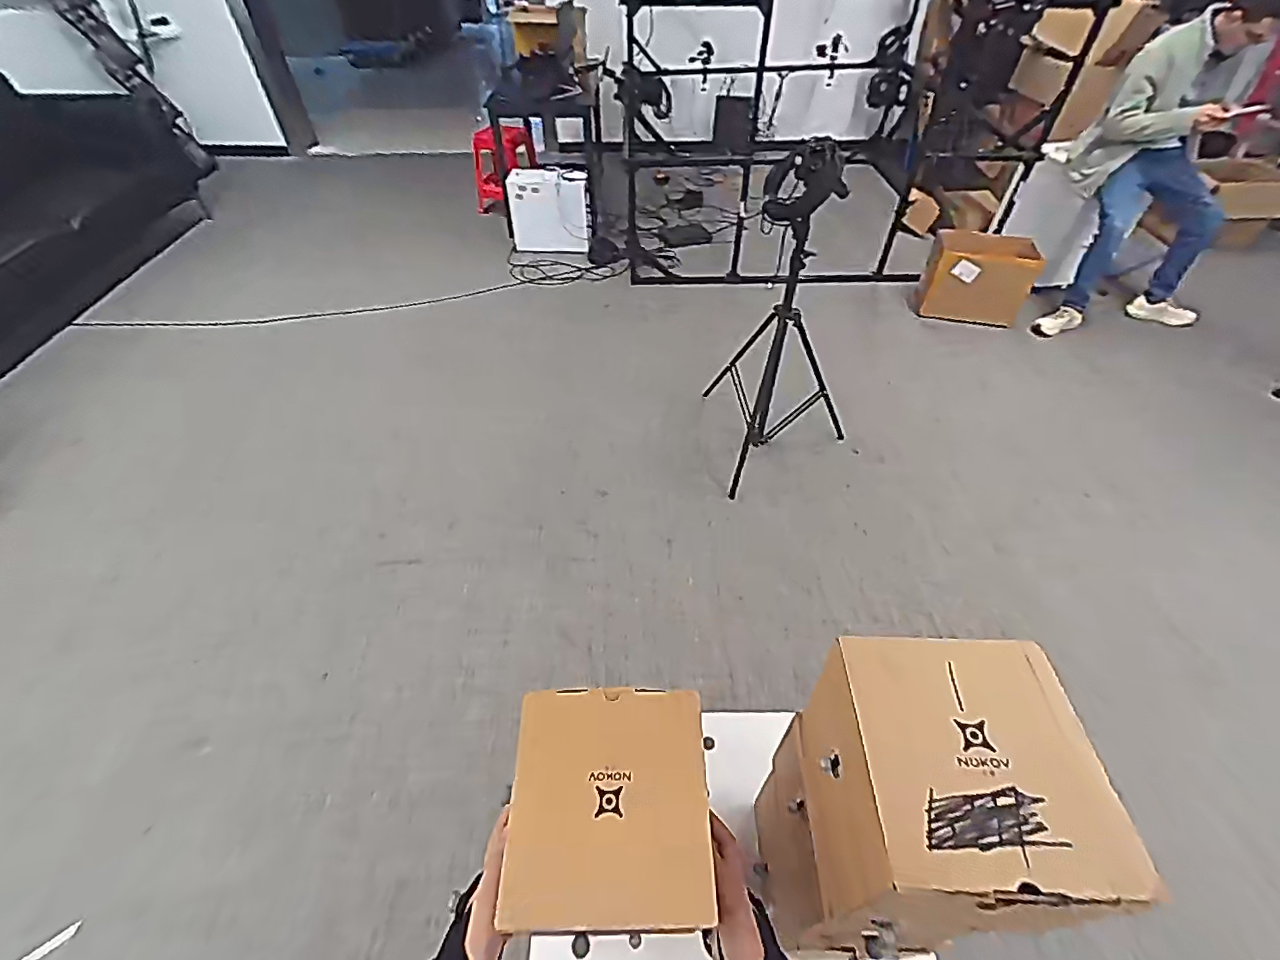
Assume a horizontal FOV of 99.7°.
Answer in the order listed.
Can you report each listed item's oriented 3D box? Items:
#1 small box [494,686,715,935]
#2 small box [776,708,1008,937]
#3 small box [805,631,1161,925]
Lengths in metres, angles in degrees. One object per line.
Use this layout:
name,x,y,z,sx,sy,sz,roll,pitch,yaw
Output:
small box,-0.027,0.310,0.505,0.168,0.176,0.179,0,48,-2
small box,0.246,0.359,0.569,0.168,0.176,0.179,-1,47,2
small box,0.245,0.247,0.448,0.168,0.176,0.179,1,45,3
